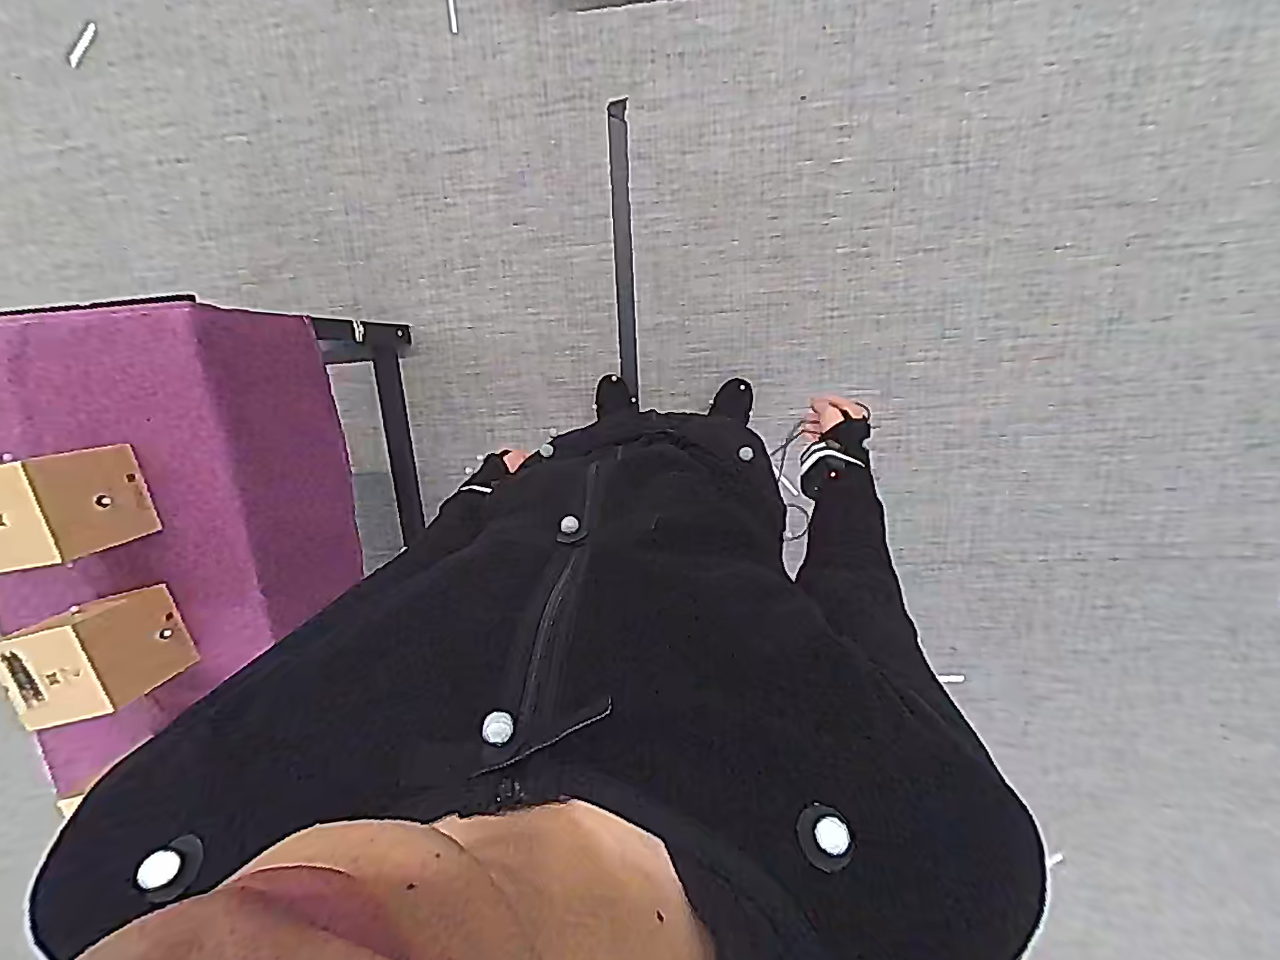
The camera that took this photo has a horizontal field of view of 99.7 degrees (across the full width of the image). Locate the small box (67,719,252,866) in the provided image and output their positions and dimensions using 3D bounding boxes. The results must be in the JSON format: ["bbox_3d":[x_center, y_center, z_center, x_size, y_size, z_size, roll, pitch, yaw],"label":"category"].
[{"bbox_3d":[-0.912,0.594,1.043,0.179,0.176,0.168,-16,102,9],"label":"small box"}]

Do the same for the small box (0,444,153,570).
[{"bbox_3d":[-0.984,0.040,0.914,0.179,0.176,0.168,-8,102,8],"label":"small box"}]
